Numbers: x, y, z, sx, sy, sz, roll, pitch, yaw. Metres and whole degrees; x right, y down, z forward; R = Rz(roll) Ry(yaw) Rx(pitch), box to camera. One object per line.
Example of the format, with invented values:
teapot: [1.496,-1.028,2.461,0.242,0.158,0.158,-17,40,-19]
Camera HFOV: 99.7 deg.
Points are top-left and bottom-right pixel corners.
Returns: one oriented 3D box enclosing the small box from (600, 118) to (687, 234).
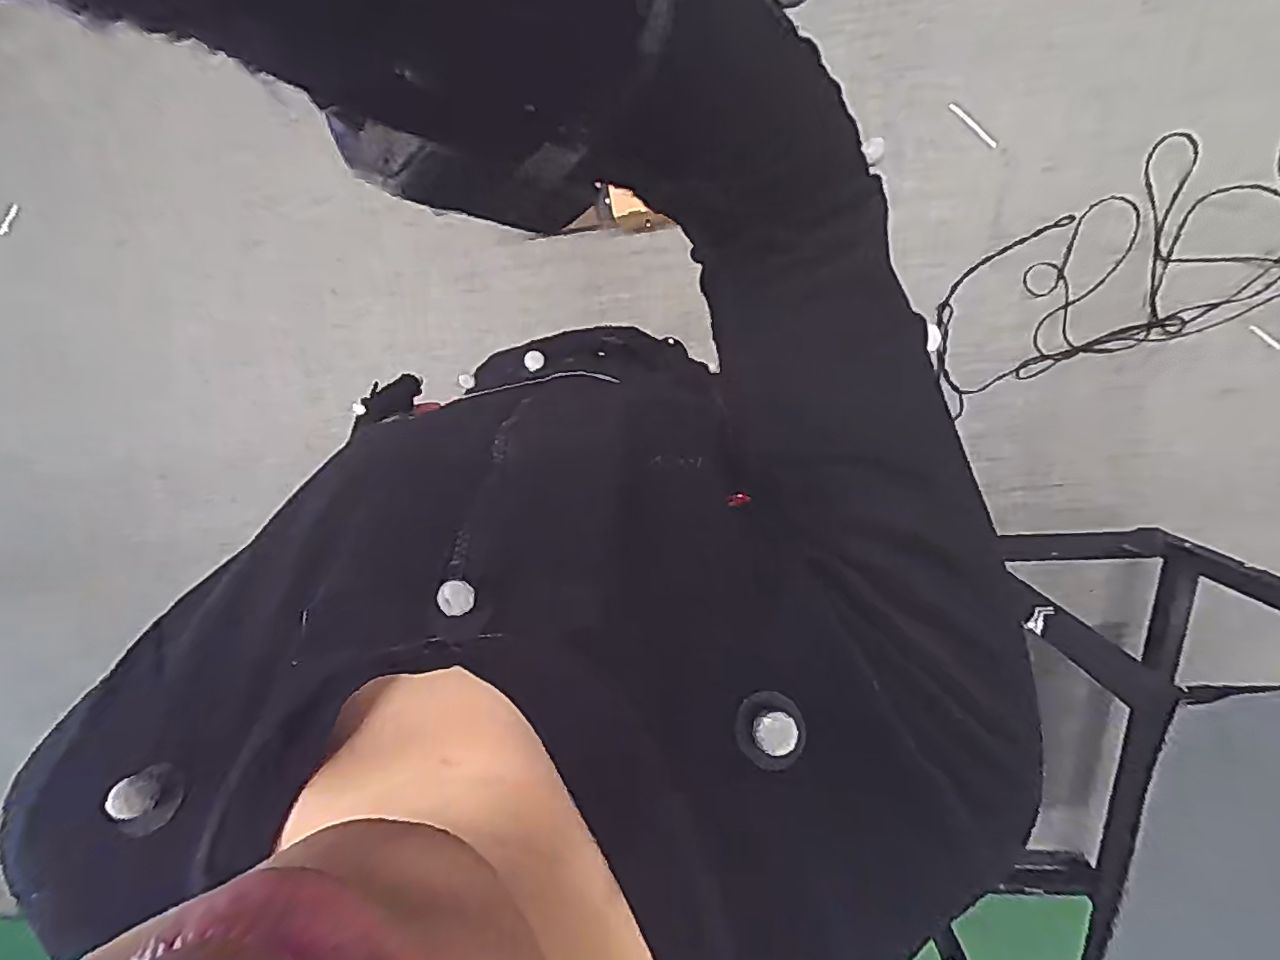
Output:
small box: [0.012,-0.675,1.222,0.168,0.176,0.179,-9,105,6]
